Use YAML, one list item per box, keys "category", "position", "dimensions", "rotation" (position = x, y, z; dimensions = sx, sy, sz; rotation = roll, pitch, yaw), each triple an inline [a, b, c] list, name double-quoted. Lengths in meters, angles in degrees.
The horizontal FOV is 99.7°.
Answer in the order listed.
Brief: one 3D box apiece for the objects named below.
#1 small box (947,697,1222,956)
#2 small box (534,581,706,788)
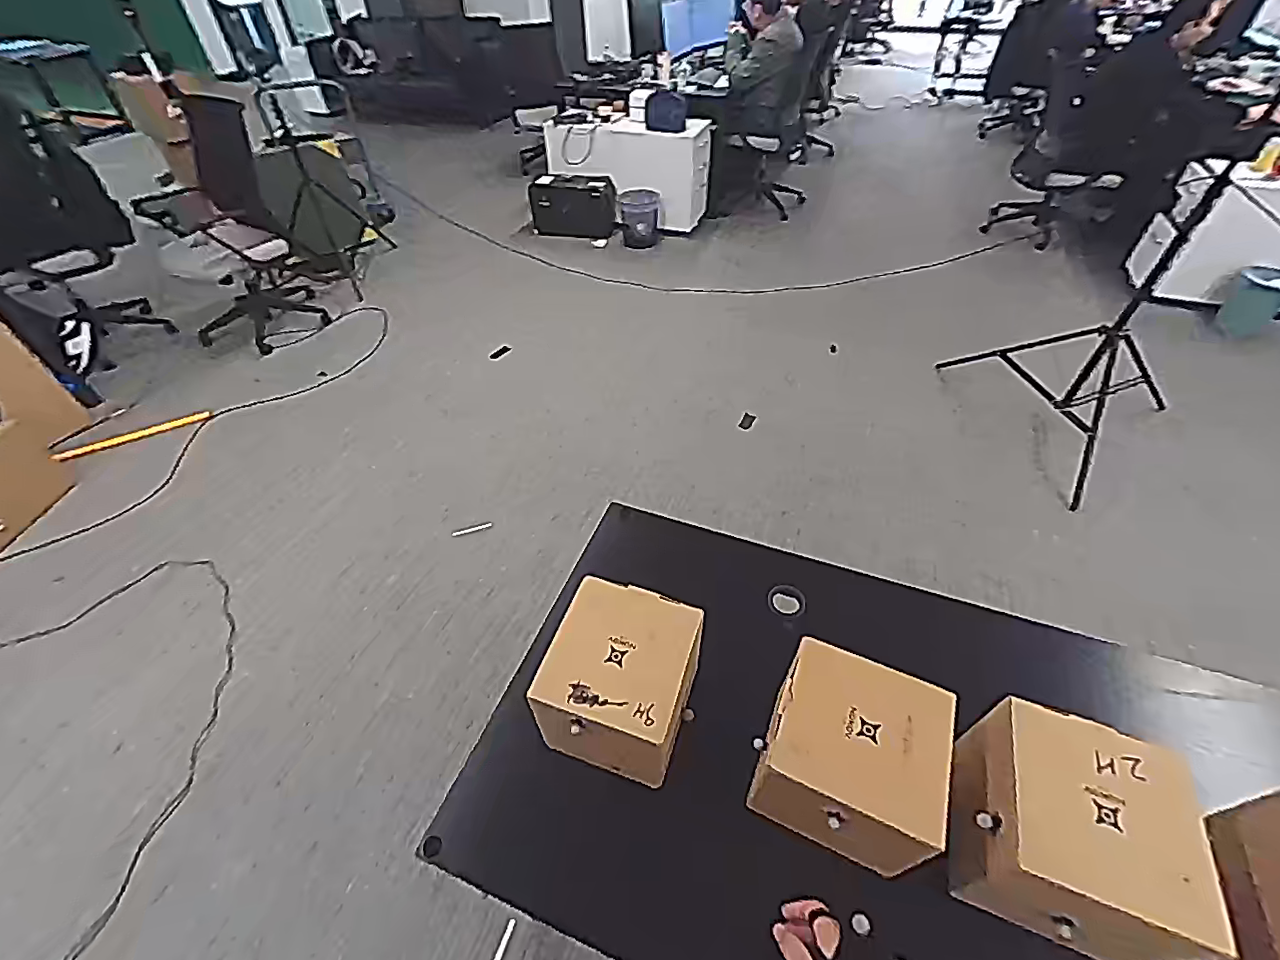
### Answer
- category: "small box"
  position: [0.458, 0.381, 0.595]
  dimensions: [0.168, 0.176, 0.179]
  rotation: [16, 48, 16]
- category: "small box"
  position: [-0.019, 0.270, 0.717]
  dimensions: [0.168, 0.176, 0.179]
  rotation: [13, 47, 16]
